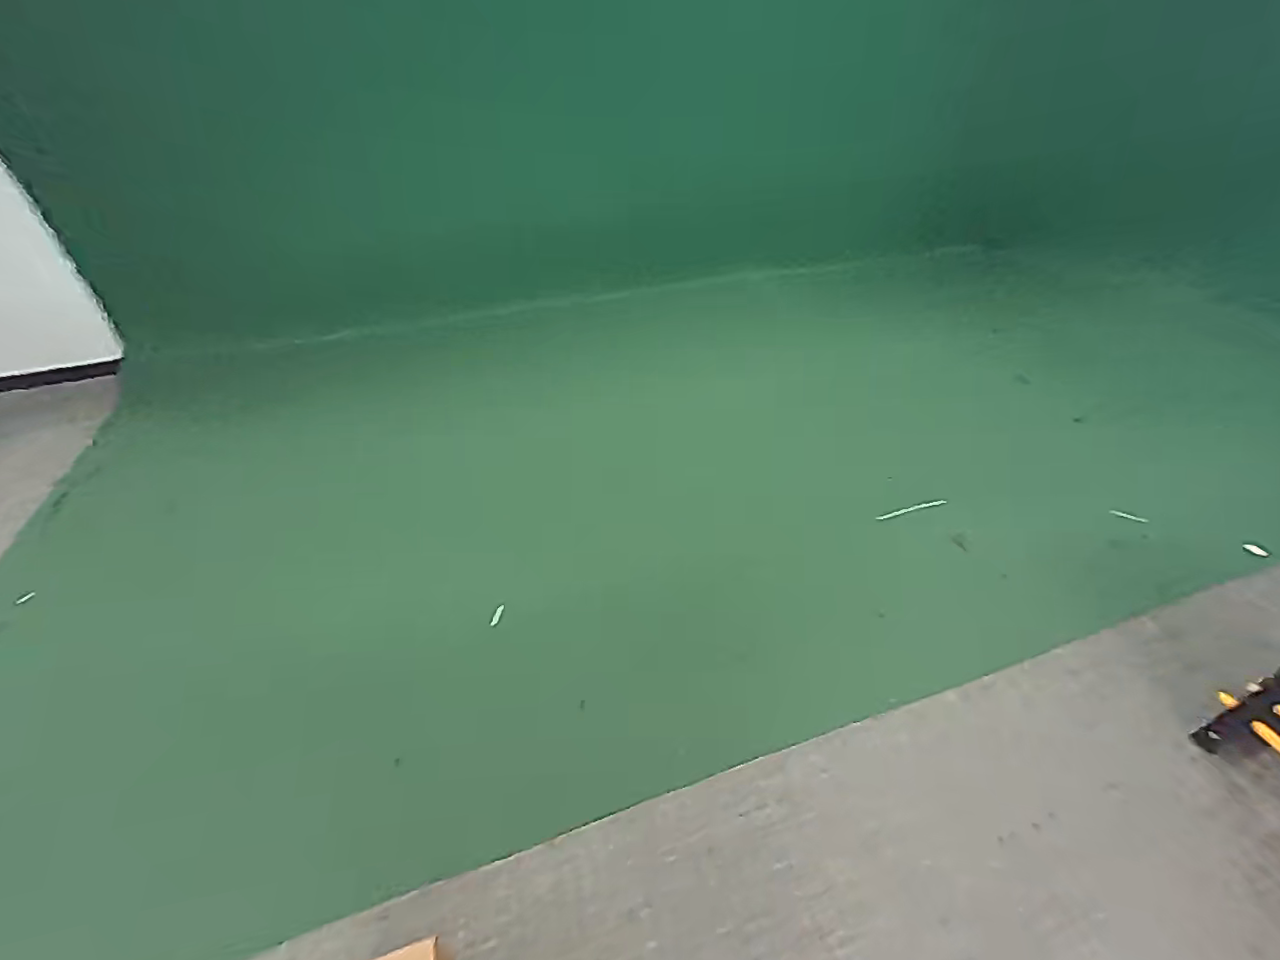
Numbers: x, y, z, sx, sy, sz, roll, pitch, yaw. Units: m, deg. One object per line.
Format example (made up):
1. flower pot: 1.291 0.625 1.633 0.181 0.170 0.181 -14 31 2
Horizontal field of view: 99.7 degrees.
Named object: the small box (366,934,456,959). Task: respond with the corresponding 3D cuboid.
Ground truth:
1. small box: -0.444 0.997 1.012 0.179 0.176 0.168 -12 41 -13
